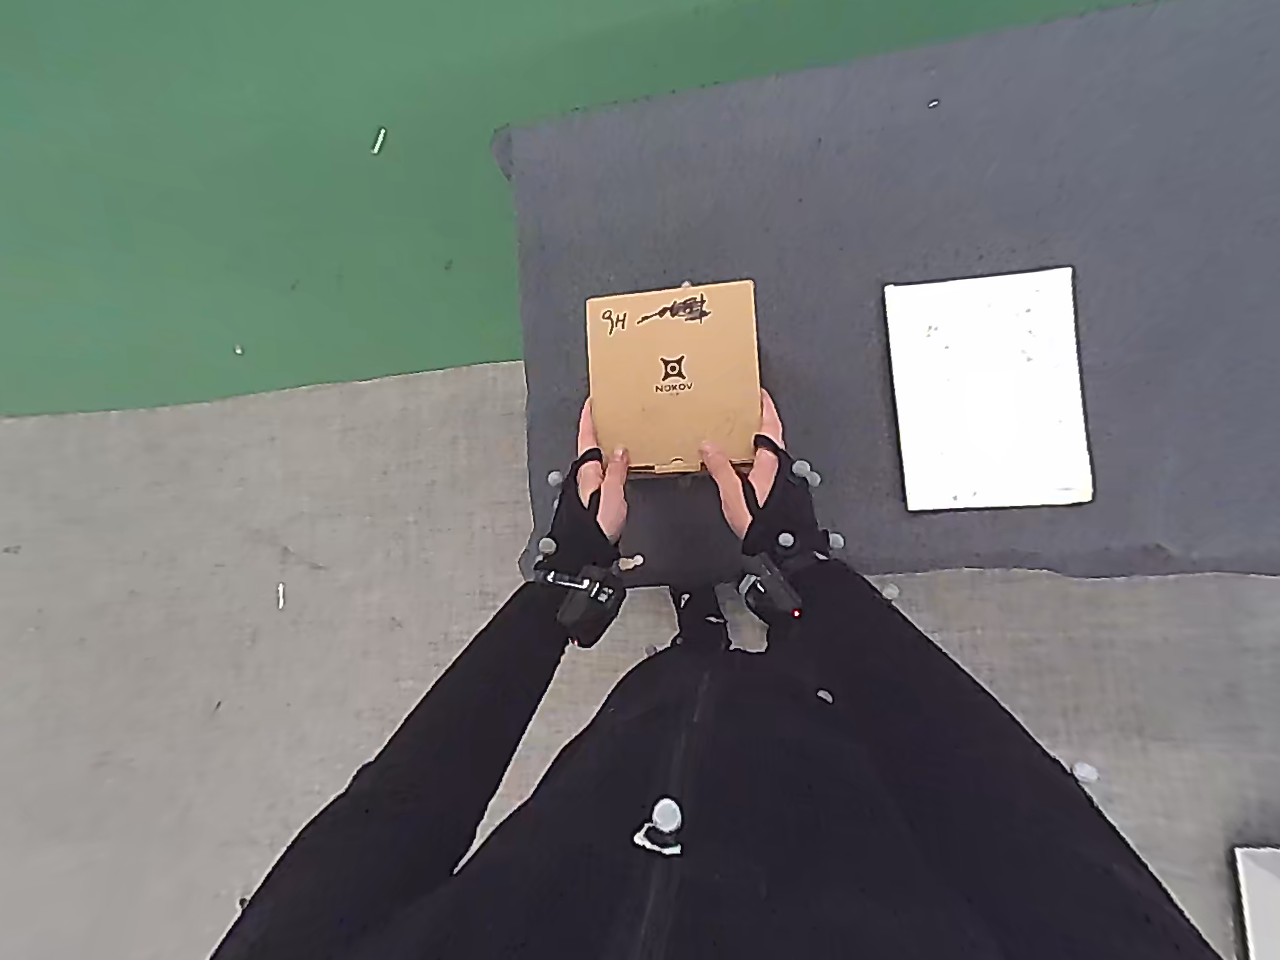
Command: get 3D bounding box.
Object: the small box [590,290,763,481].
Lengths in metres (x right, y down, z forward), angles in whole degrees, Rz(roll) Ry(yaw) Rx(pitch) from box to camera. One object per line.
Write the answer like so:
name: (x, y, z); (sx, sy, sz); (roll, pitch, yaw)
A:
small box: (0.047, -0.091, 0.604); (0.168, 0.176, 0.179); (-3, 89, 9)
